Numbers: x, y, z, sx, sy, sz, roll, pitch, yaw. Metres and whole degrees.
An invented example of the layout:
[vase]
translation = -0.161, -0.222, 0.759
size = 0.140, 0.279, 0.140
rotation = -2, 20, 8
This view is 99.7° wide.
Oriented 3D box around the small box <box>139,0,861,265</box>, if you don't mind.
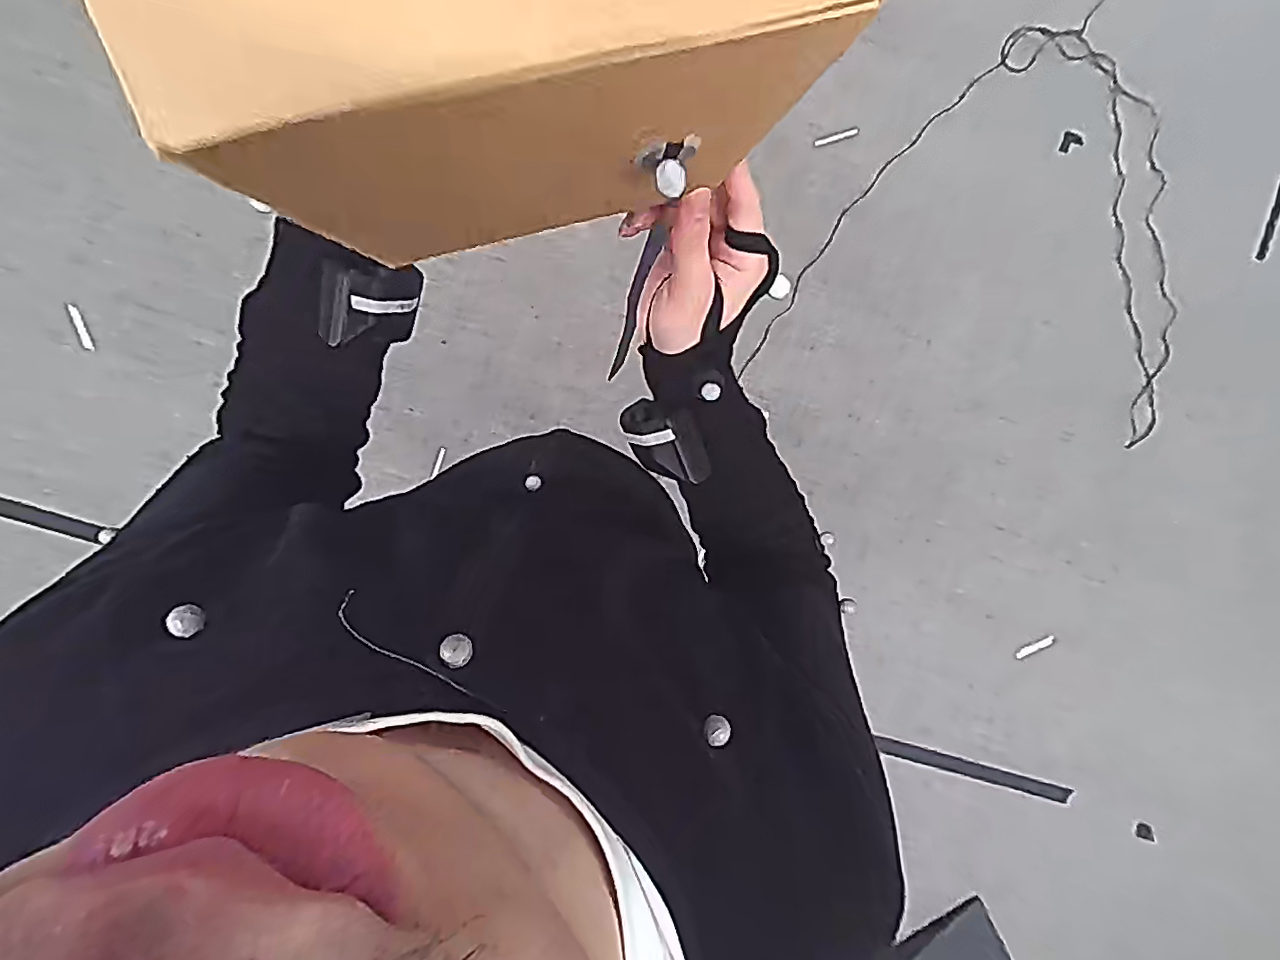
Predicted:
[small box]
translation = -0.053, -0.192, 0.195
size = 0.179, 0.176, 0.168
rotation = -16, 104, -3
